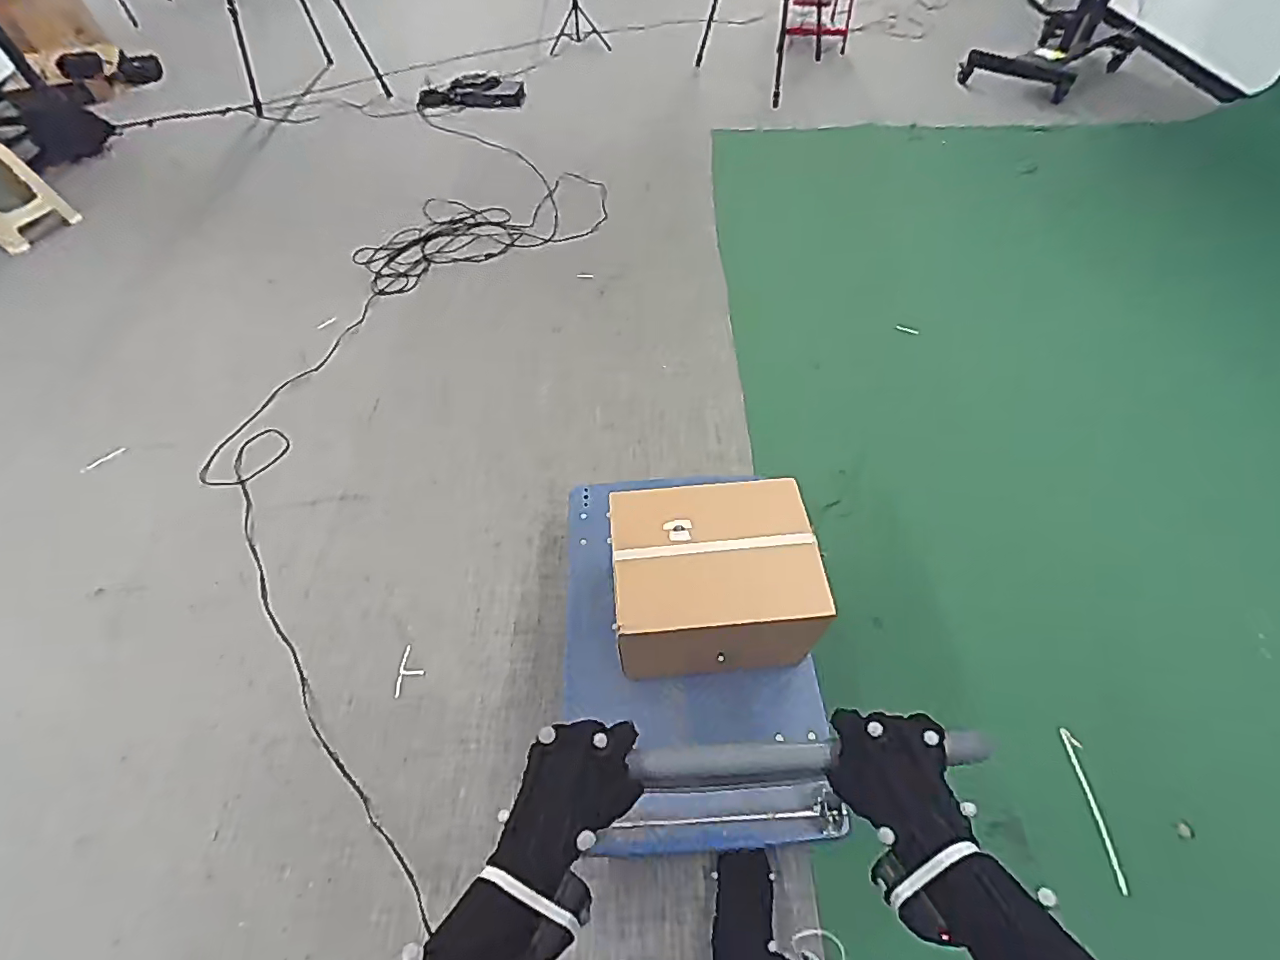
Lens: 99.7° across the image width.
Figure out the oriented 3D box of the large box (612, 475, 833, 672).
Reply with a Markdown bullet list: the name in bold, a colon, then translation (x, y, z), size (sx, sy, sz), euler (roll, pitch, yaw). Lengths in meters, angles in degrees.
- **large box**: translation (0.160, 0.220, 1.214), size (0.408, 0.320, 0.320), euler (-6, 55, -1)
